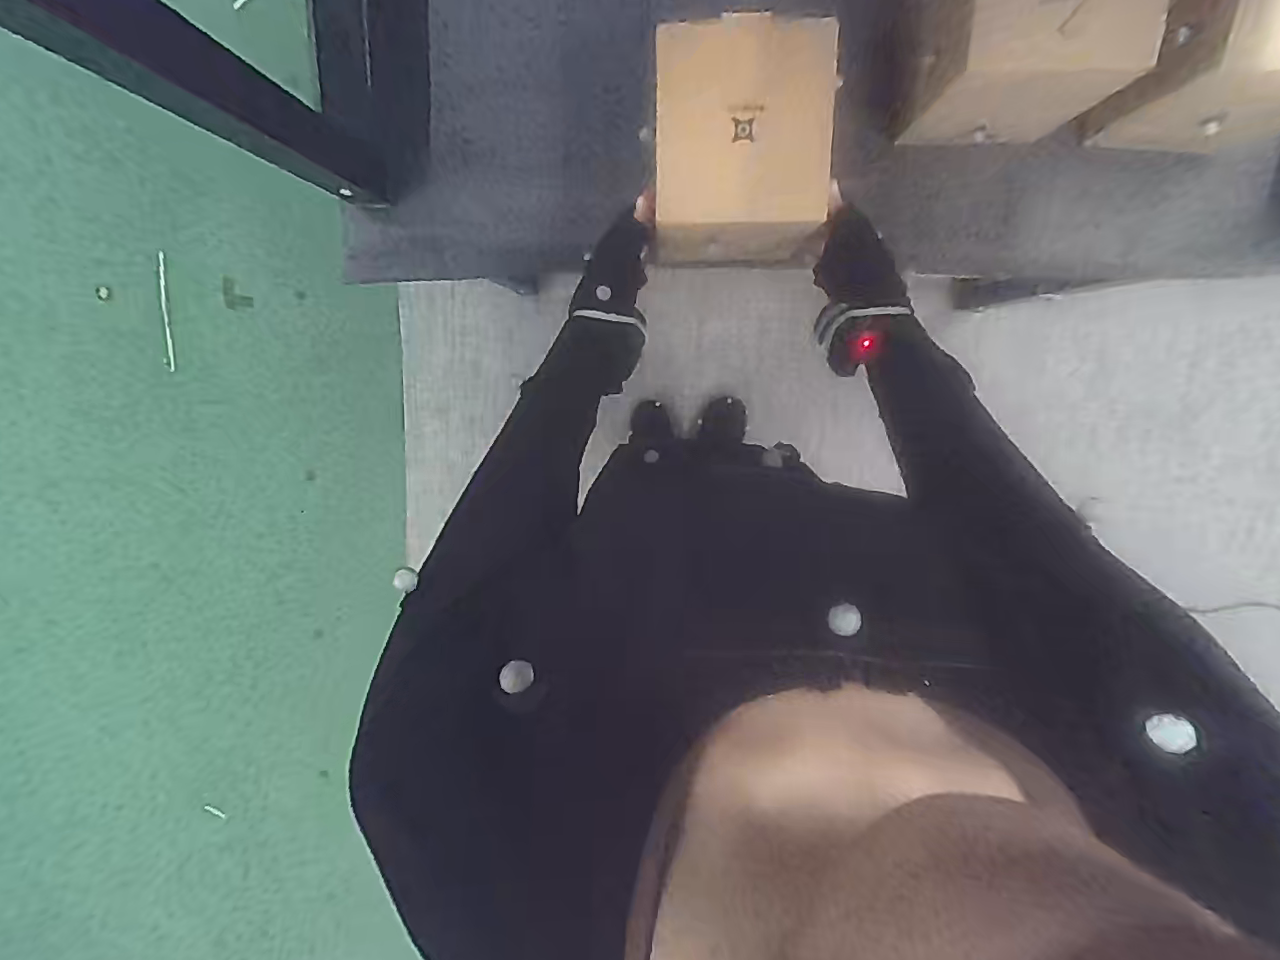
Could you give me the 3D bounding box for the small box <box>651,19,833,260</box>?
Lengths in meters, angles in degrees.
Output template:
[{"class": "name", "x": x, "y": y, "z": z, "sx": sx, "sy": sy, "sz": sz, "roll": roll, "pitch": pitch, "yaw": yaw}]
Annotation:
[{"class": "small box", "x": 0.098, "y": -0.345, "z": 0.586, "sx": 0.168, "sy": 0.176, "sz": 0.179, "roll": 0, "pitch": 99, "yaw": 3}]
